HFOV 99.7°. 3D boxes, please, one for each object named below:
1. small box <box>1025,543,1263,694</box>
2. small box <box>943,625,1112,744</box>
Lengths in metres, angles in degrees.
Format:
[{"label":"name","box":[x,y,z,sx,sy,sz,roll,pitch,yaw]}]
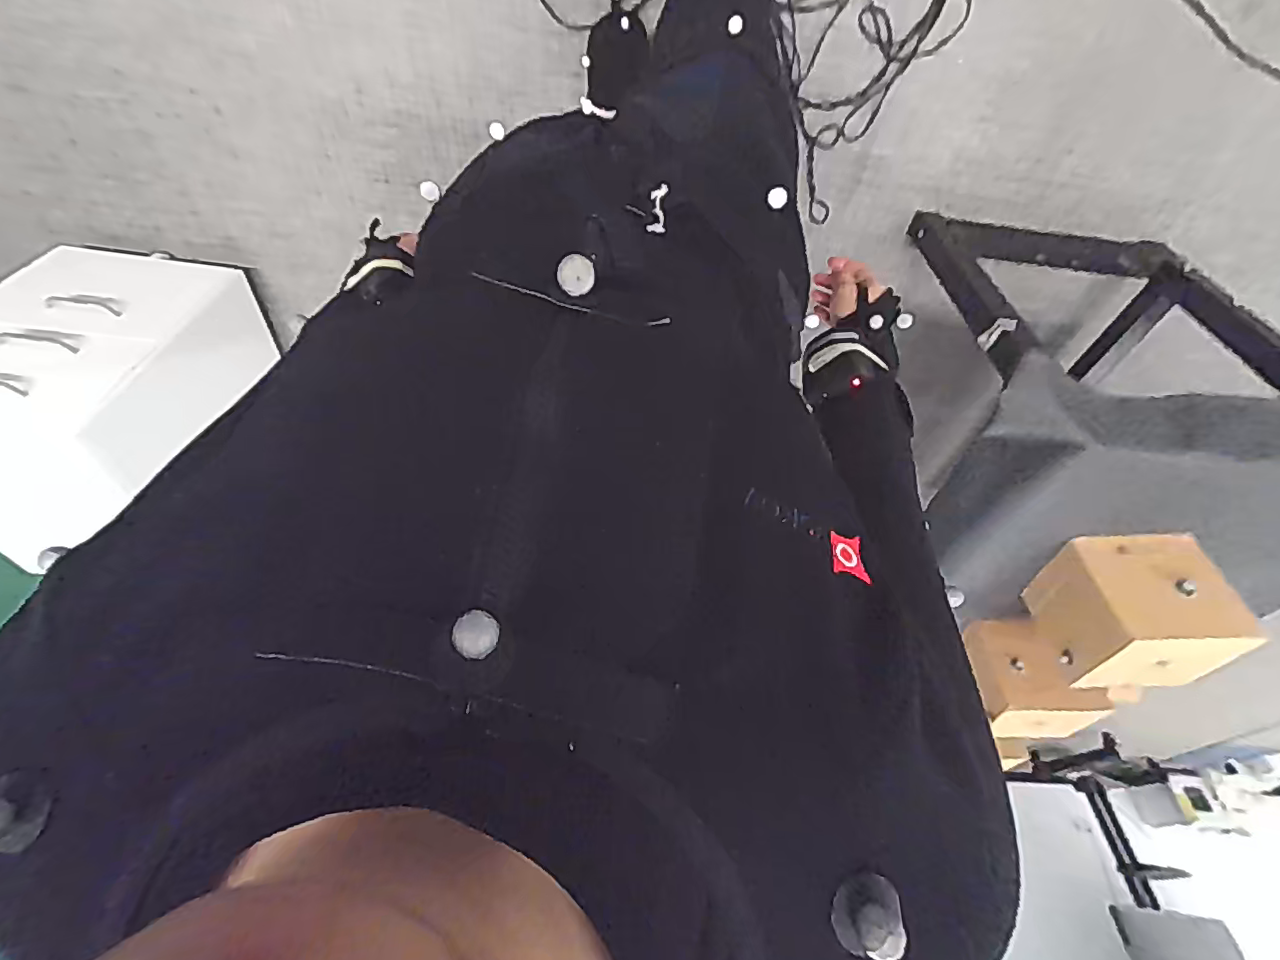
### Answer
[{"label":"small box","box":[0.726,0.204,0.812,0.168,0.176,0.179,-3,139,5]},{"label":"small box","box":[0.707,0.382,1.016,0.179,0.176,0.168,-2,140,3]}]
